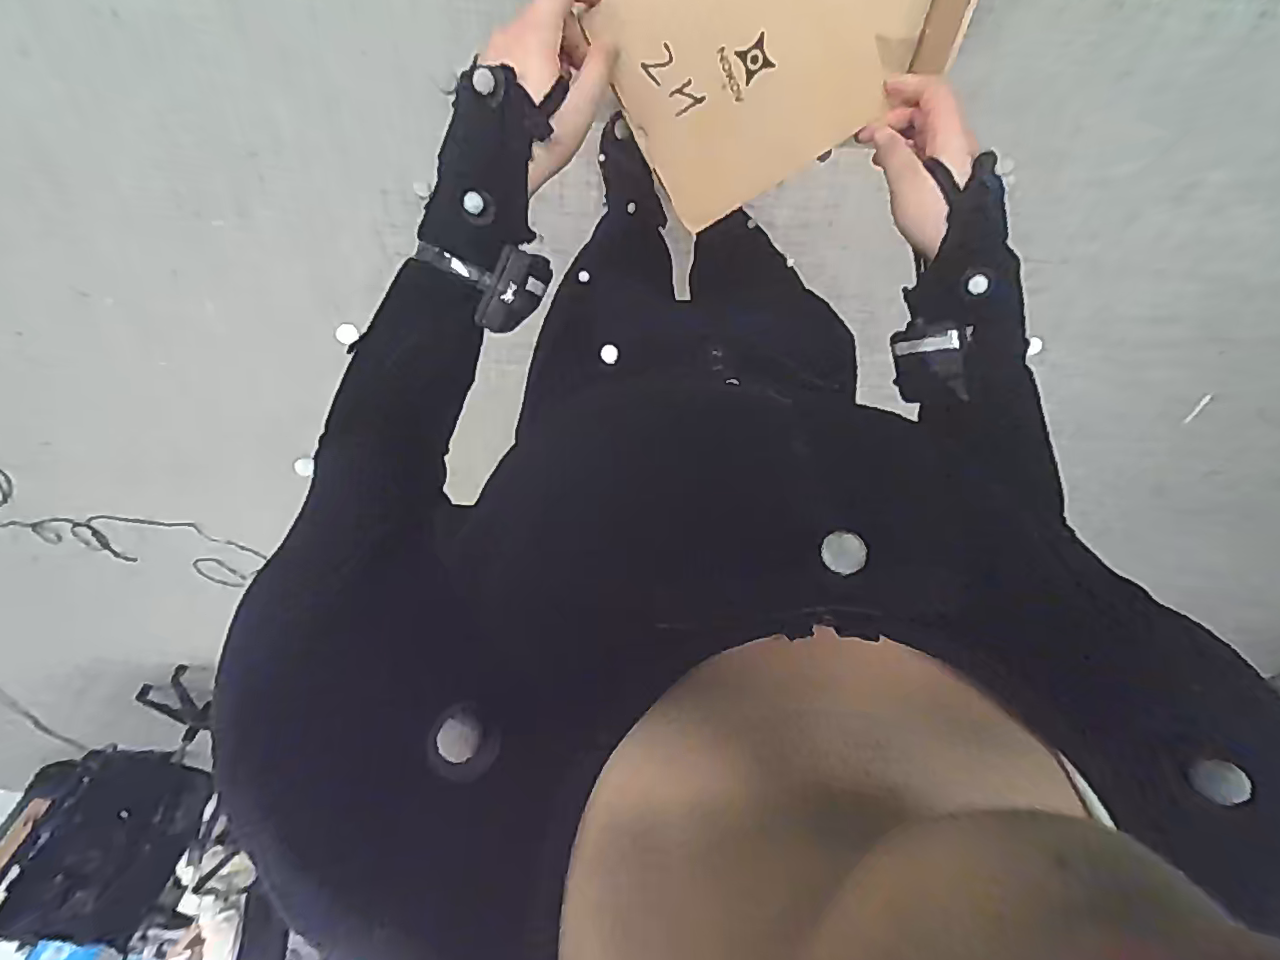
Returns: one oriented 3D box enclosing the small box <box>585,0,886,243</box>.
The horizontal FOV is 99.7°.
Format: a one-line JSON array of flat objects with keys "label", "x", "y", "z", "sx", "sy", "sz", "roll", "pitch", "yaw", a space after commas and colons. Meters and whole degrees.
[{"label": "small box", "x": 0.068, "y": -0.339, "z": 0.449, "sx": 0.179, "sy": 0.176, "sz": 0.168, "roll": -26, "pitch": 126, "yaw": 17}]
